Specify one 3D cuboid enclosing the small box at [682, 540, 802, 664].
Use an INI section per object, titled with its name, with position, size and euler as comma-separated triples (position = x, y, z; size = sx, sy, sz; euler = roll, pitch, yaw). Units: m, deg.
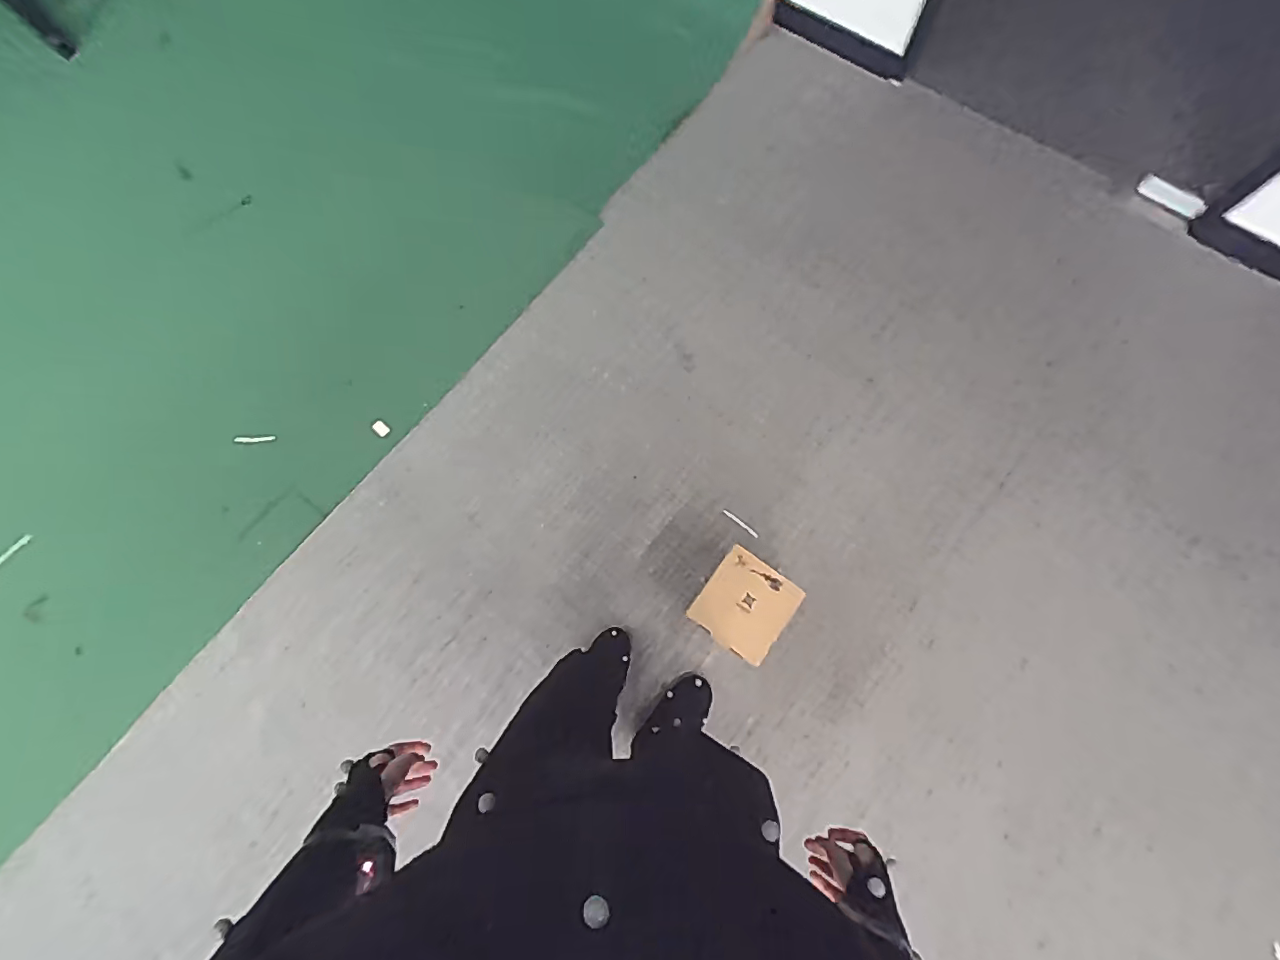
[small box]
position = 0.203, 0.250, 1.112
size = 0.168, 0.176, 0.179
euler = 37, 82, 11
